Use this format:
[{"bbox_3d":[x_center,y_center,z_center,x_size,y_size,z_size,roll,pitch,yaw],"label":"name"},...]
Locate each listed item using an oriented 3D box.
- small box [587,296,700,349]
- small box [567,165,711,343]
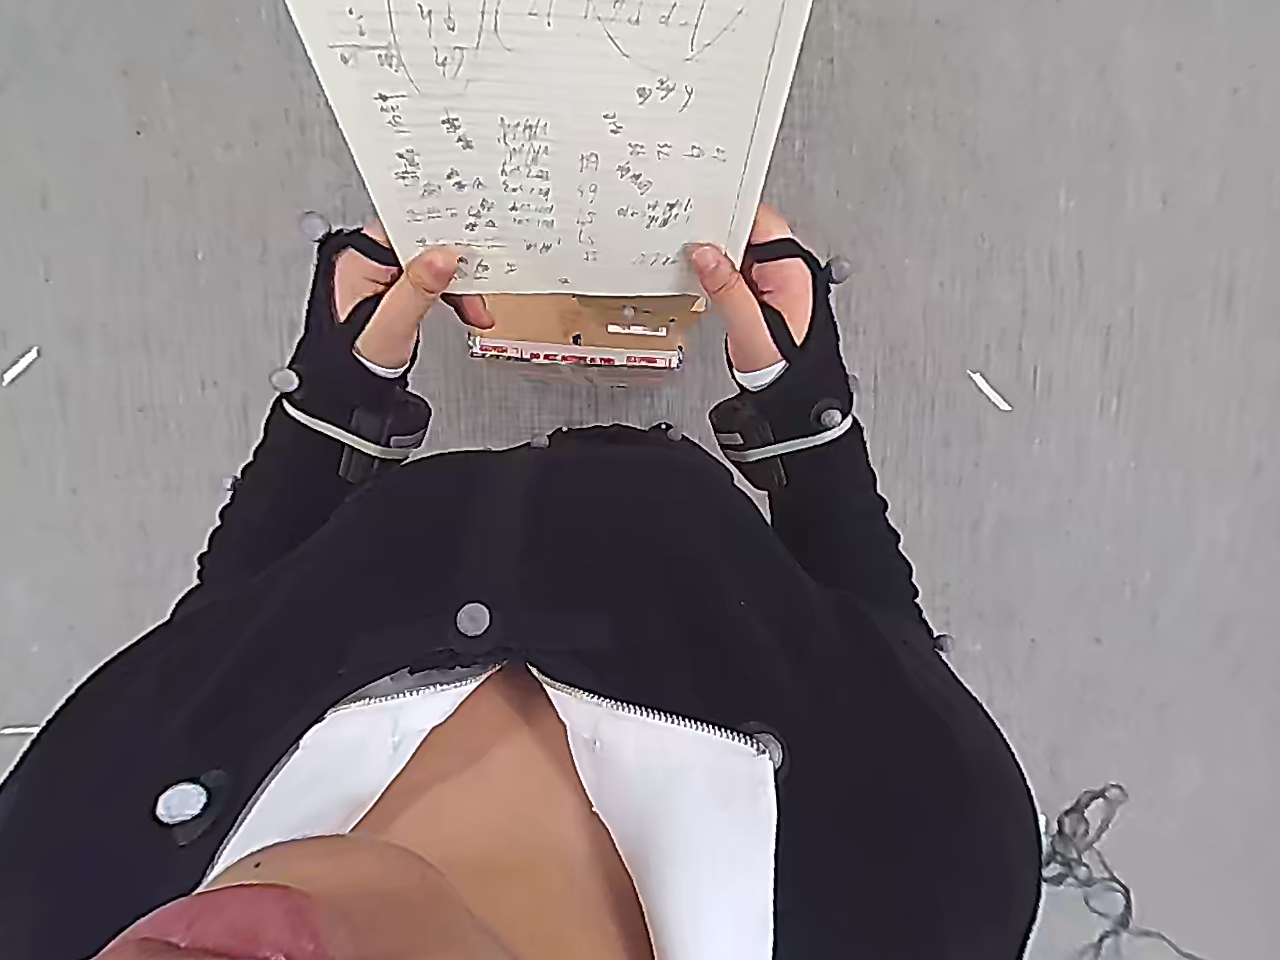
[{"bbox_3d":[0.001,-0.316,0.911,0.179,0.176,0.168,1,96,-3],"label":"small box"},{"bbox_3d":[-0.008,-0.296,0.746,0.168,0.176,0.179,5,97,-4],"label":"small box"}]
